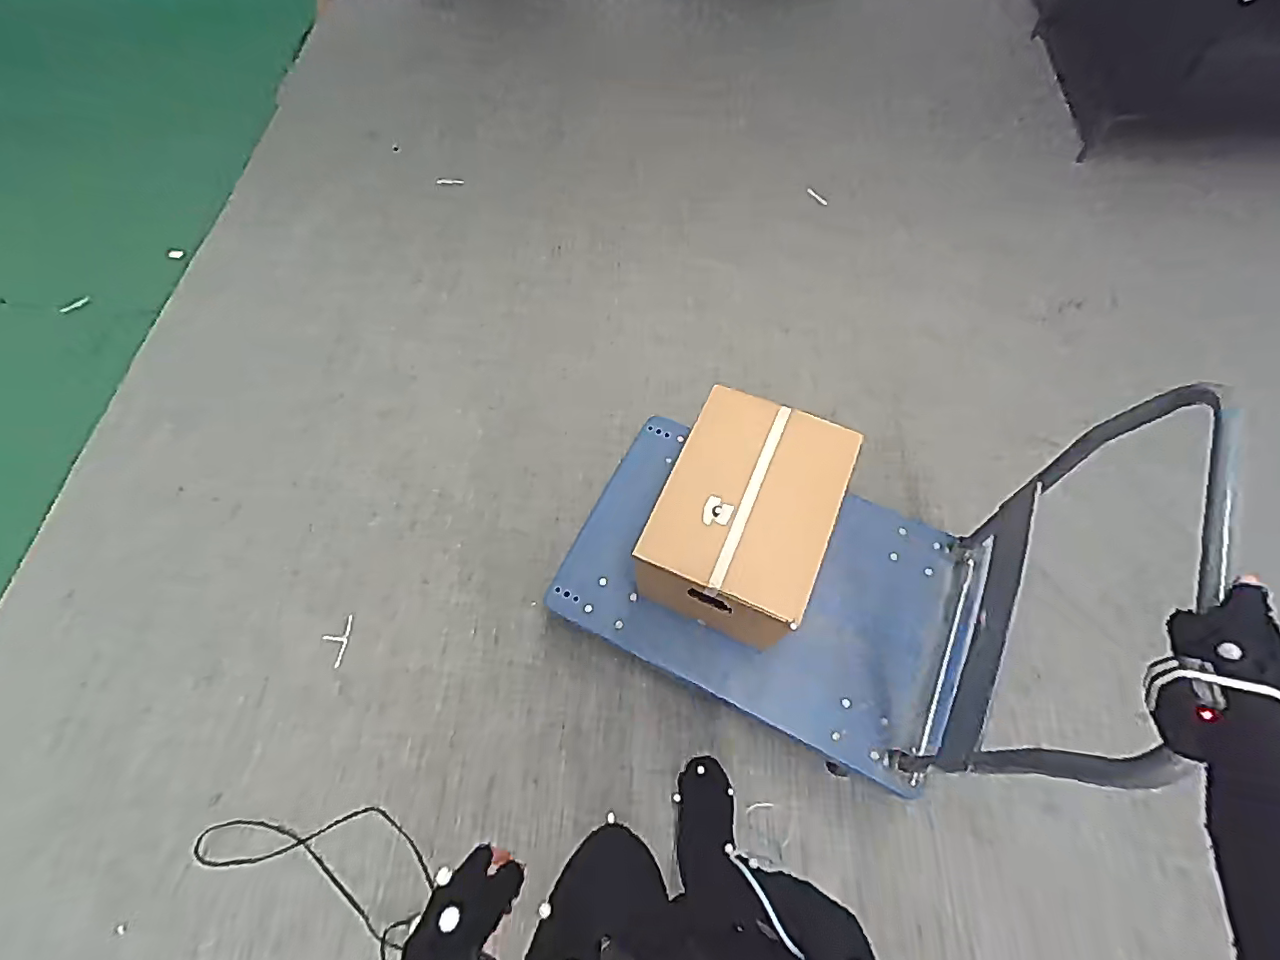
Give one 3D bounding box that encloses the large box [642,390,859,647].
[{"bbox_3d":[0.223,0.090,1.155,0.320,0.320,0.408,21,68,12],"label":"large box"}]
